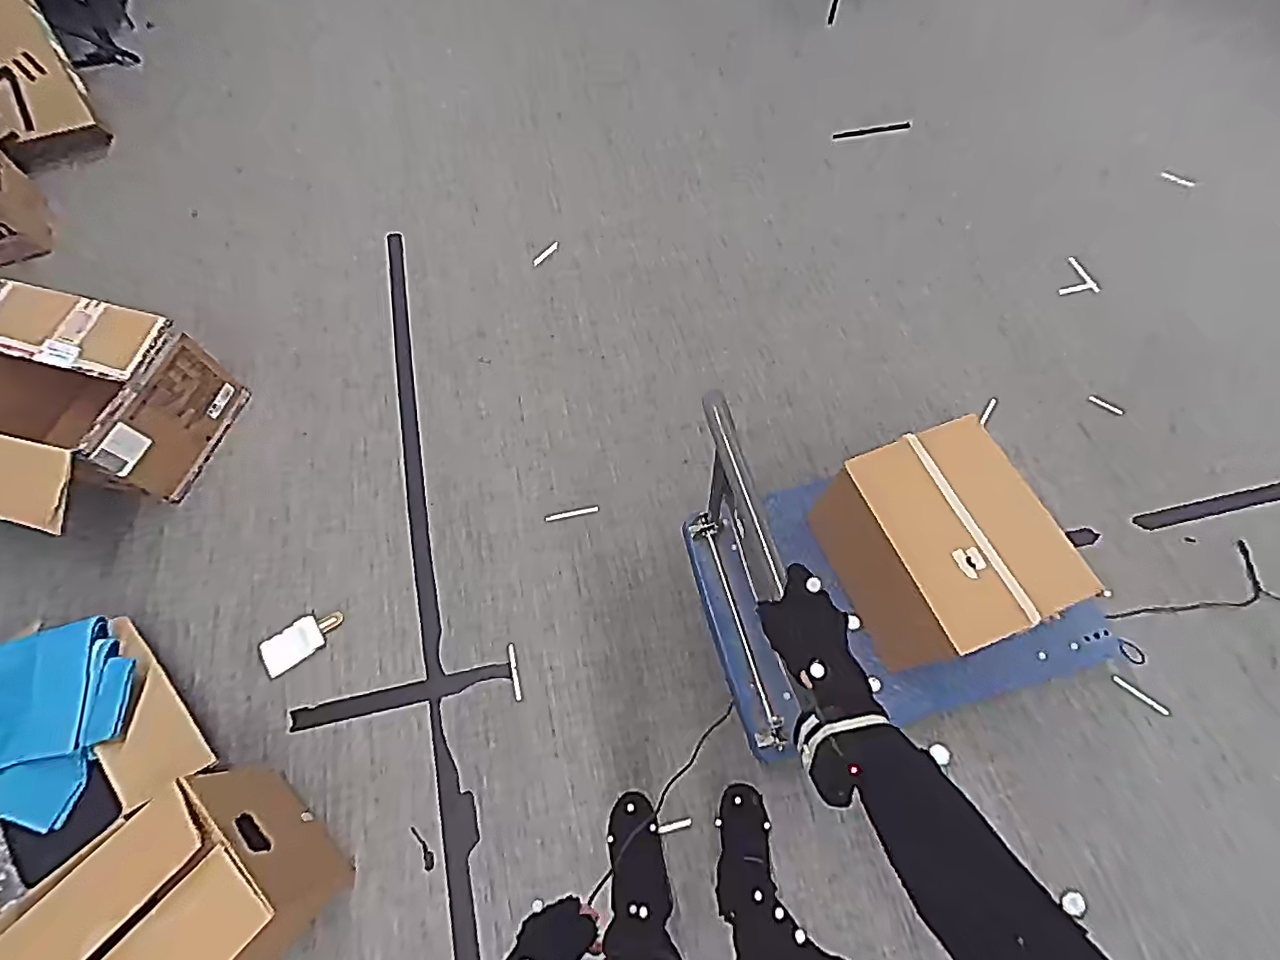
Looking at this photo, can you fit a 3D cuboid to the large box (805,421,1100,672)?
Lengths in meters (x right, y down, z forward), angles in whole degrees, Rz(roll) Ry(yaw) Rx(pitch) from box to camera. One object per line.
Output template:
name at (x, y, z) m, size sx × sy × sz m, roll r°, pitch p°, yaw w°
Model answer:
large box at (0.621, 0.152, 1.167) m, size 0.320 × 0.320 × 0.408 m, roll -20°, pitch 67°, yaw -7°
